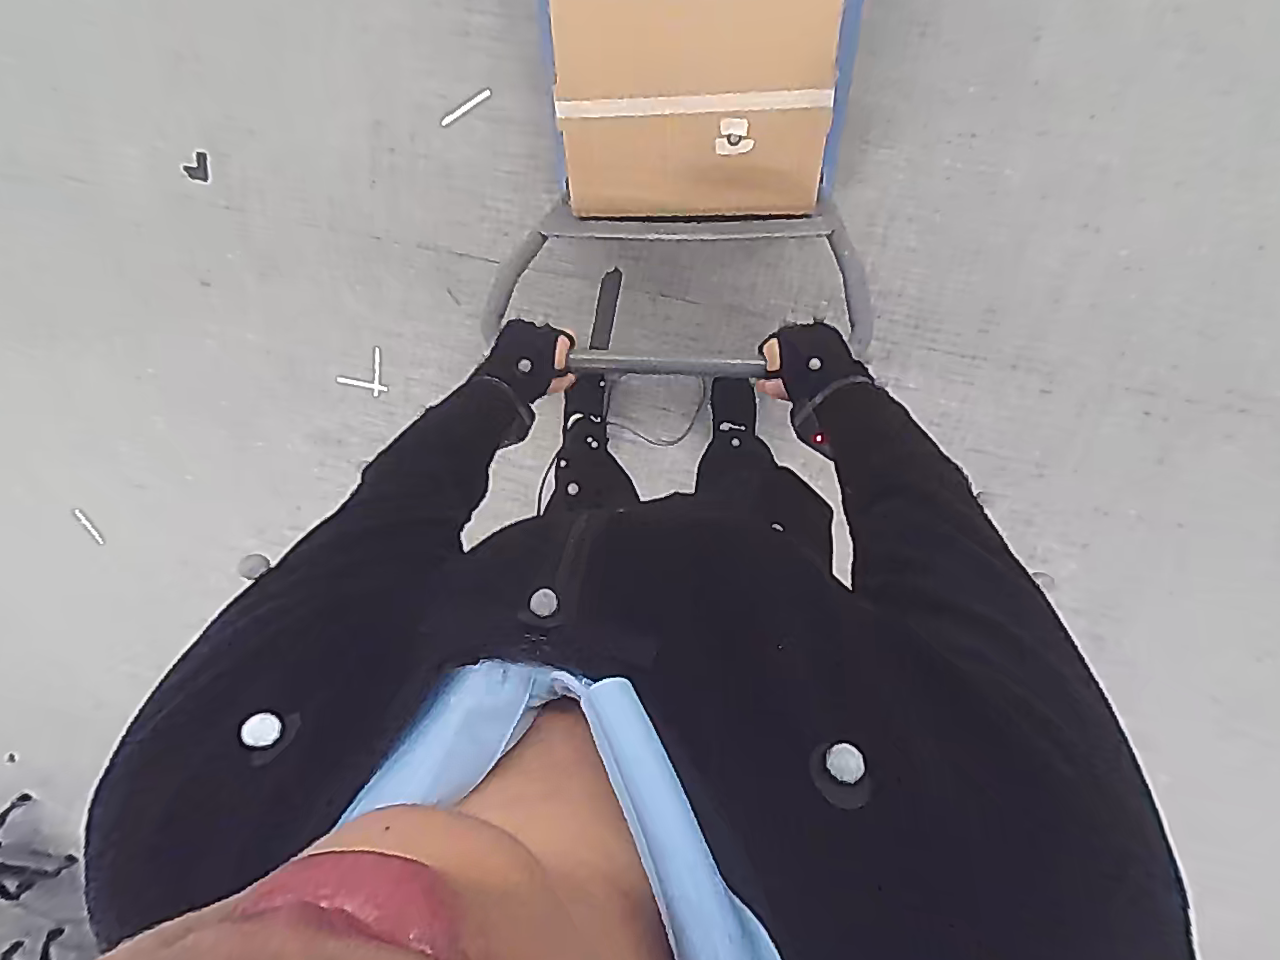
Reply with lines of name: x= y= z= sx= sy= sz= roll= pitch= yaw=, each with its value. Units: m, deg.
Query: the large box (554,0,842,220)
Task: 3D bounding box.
large box: x=0.099 y=-0.662 z=0.939 sx=0.408 sy=0.320 sz=0.320 roll=2 pitch=129 yaw=7
